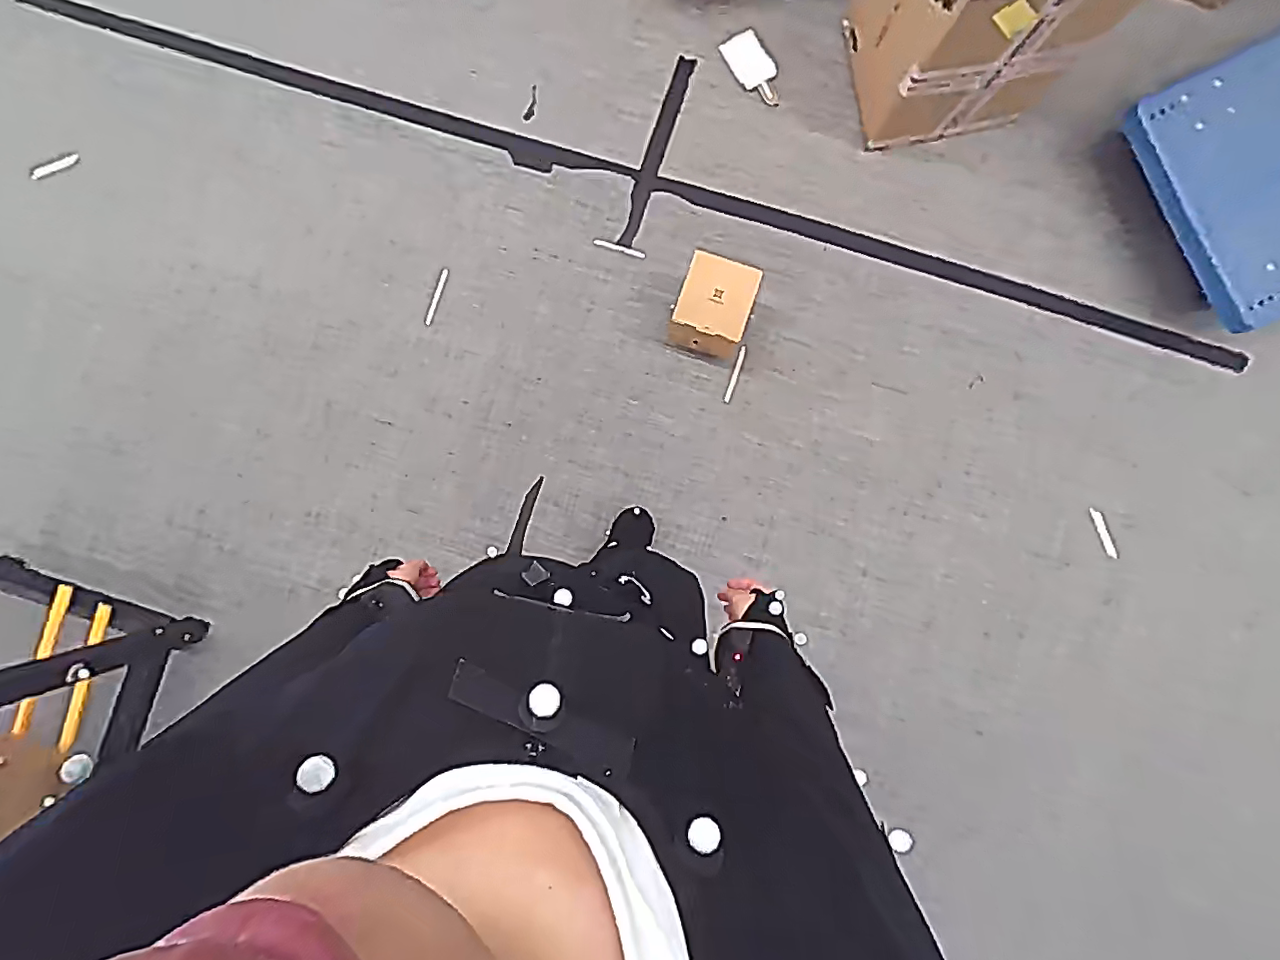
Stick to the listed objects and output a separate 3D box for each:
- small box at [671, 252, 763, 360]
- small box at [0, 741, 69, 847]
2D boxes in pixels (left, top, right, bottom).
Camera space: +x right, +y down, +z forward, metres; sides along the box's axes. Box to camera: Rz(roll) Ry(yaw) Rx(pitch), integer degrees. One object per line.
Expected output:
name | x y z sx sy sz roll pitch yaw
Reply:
small box | 0.176 -0.413 1.311 0.168 0.176 0.179 19 90 0
small box | -1.447 0.706 1.190 0.179 0.176 0.168 17 90 -2
